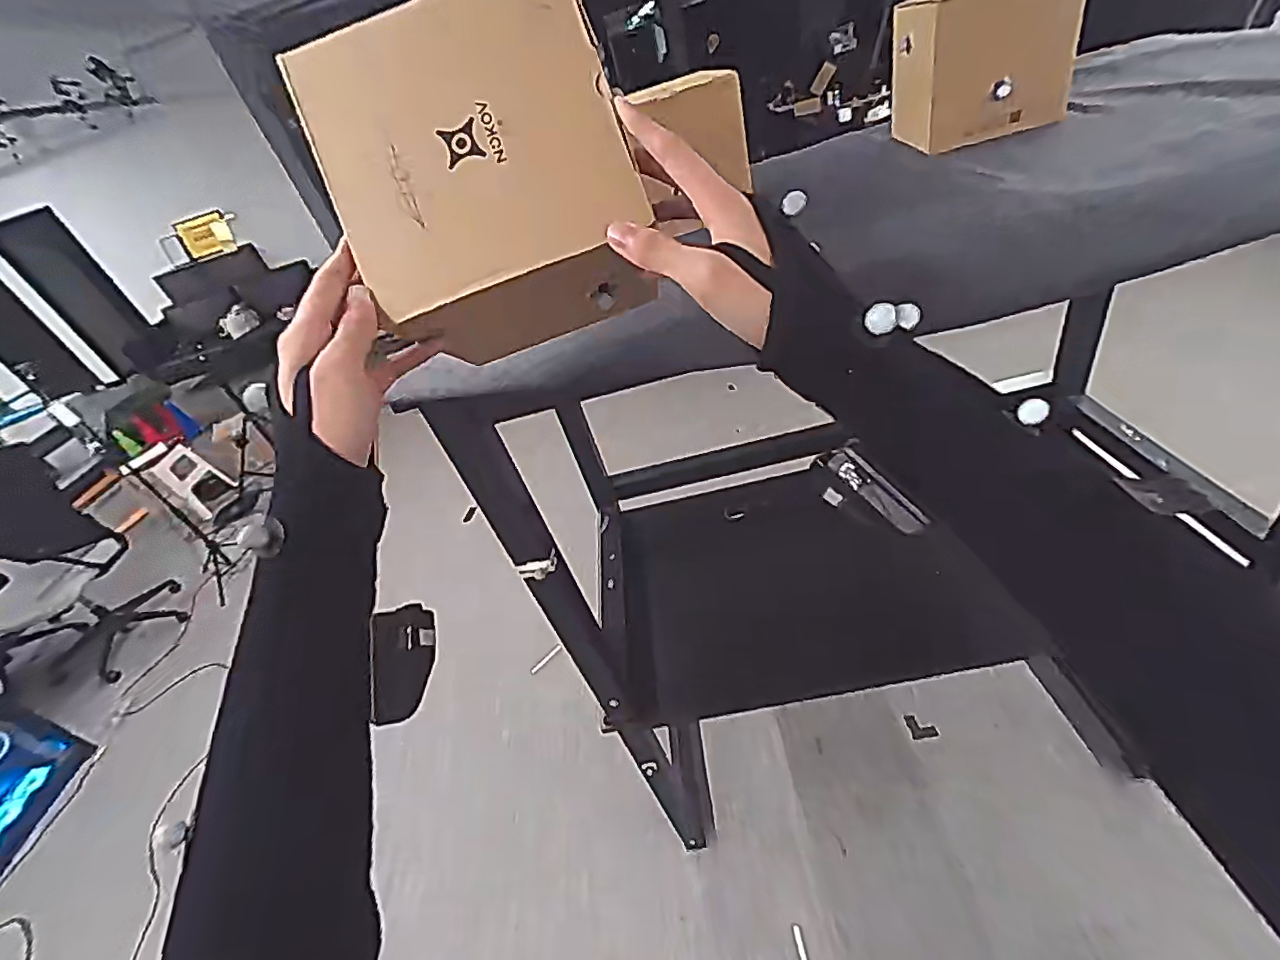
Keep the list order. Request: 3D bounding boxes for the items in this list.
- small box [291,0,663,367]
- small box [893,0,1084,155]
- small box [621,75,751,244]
[{"bbox_3d":[-0.093,-0.195,0.391,0.179,0.168,0.176,-20,2,3],"label":"small box"},{"bbox_3d":[0.455,-0.566,0.739,0.168,0.176,0.179,-10,39,12],"label":"small box"},{"bbox_3d":[0.048,-0.453,0.774,0.168,0.176,0.179,-17,38,2],"label":"small box"}]
